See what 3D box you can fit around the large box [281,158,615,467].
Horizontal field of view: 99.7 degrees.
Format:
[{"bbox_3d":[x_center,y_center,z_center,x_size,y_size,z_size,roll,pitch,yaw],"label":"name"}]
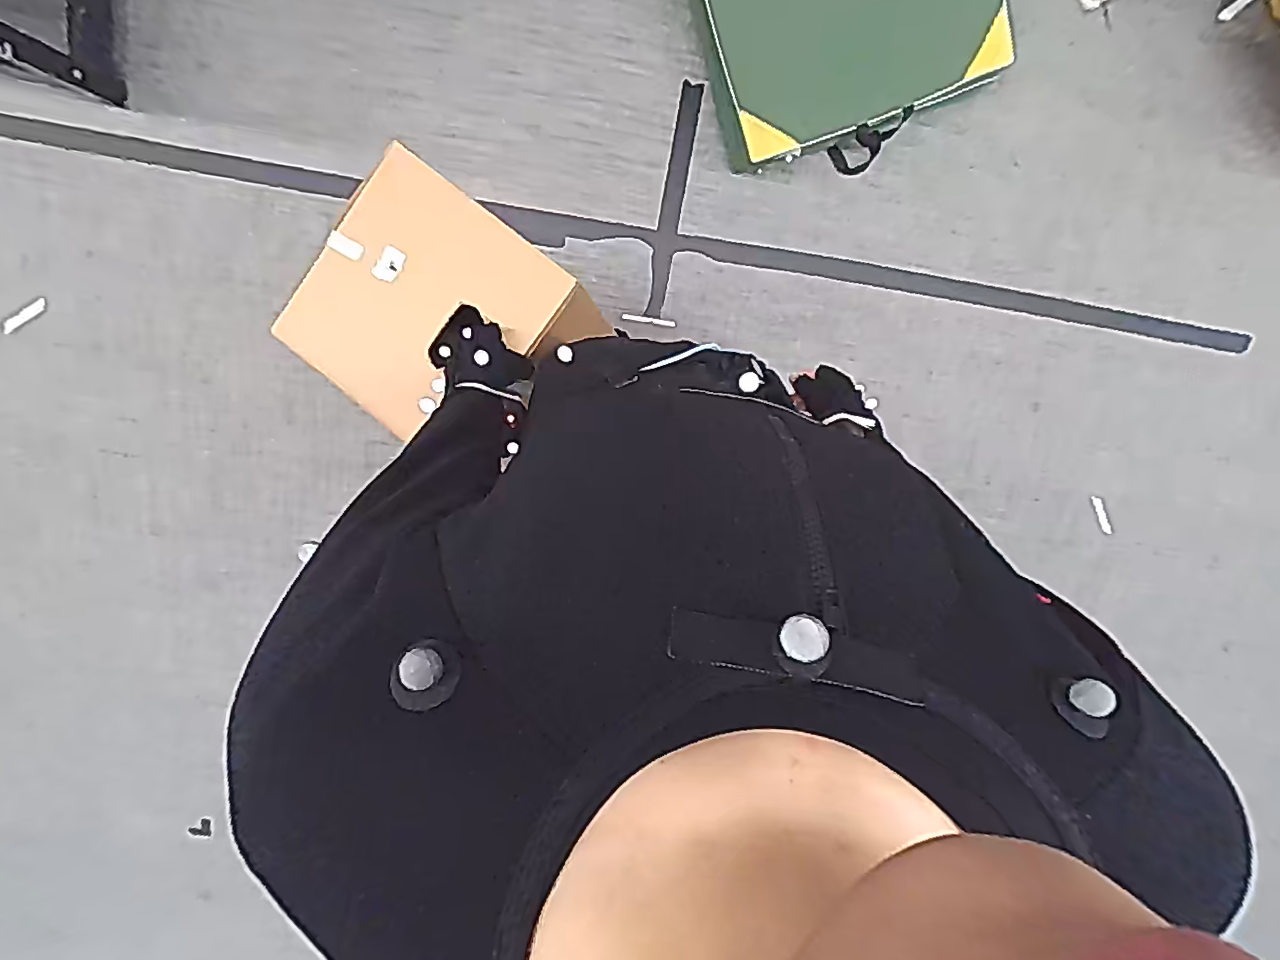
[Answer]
[{"bbox_3d":[-0.282,-0.244,0.925,0.320,0.408,0.320,39,97,2],"label":"large box"}]
